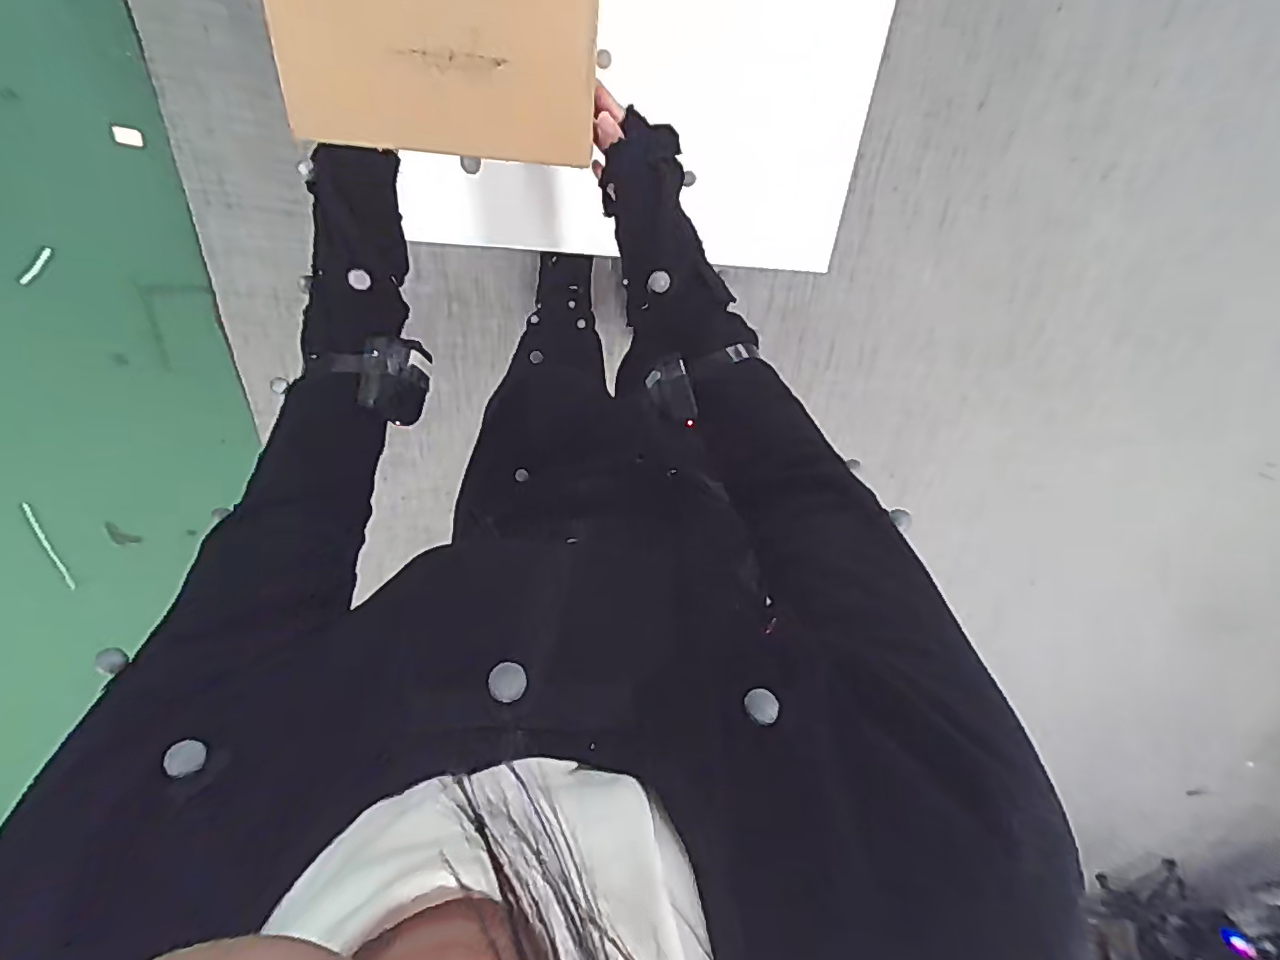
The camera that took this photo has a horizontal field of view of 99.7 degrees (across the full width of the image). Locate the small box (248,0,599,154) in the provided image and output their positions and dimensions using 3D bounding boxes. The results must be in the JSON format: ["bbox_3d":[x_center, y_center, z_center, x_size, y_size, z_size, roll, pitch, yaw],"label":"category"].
[{"bbox_3d":[-0.108,-0.302,0.315,0.168,0.176,0.179,3,123,-6],"label":"small box"}]
